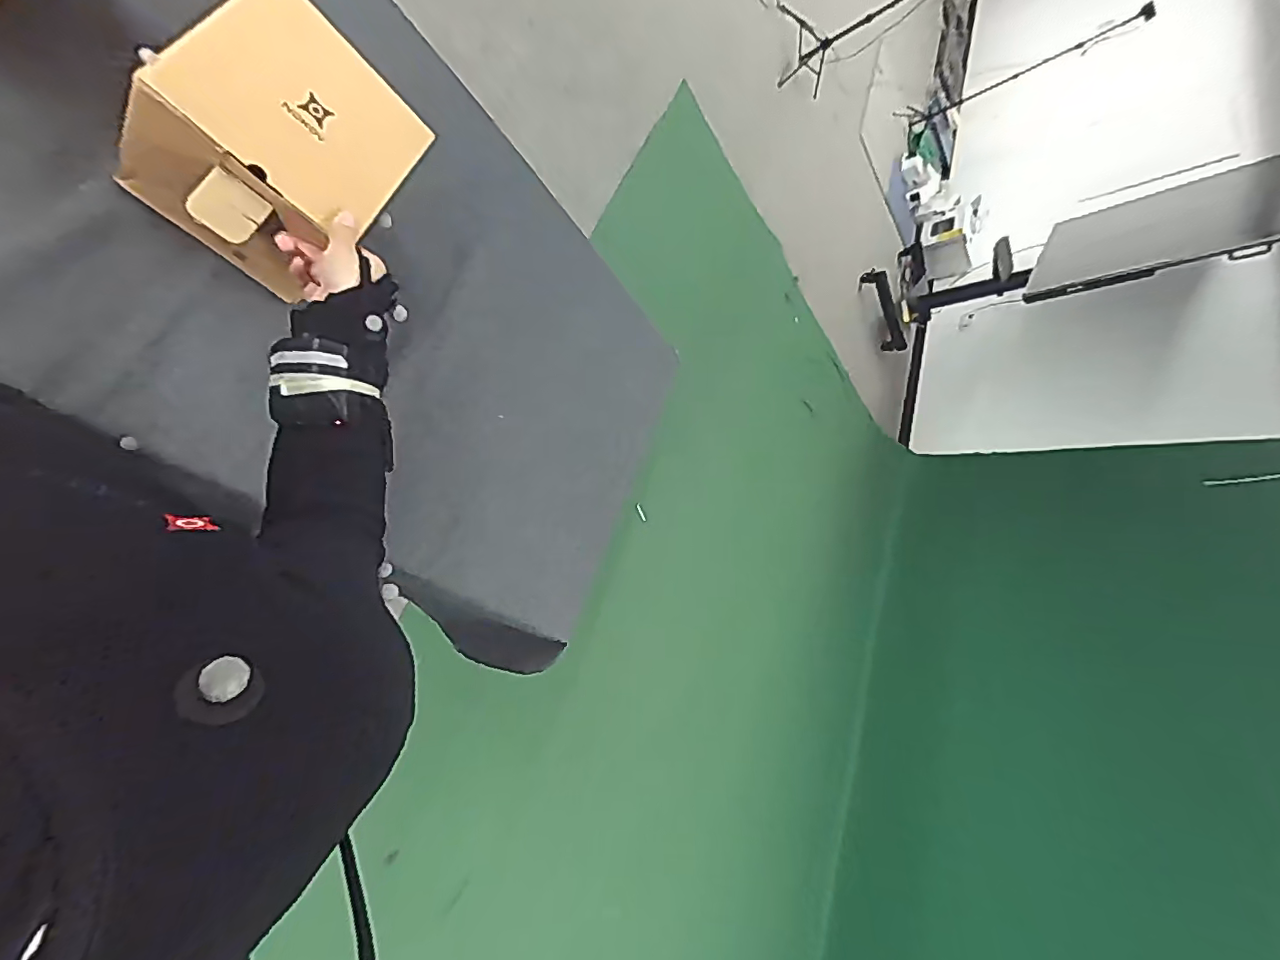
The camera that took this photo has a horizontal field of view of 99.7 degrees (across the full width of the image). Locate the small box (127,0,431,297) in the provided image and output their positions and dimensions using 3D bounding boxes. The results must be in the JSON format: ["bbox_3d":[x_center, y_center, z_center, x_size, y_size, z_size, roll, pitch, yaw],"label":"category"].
[{"bbox_3d":[-0.347,-0.313,0.525,0.168,0.176,0.179,40,59,-39],"label":"small box"}]
